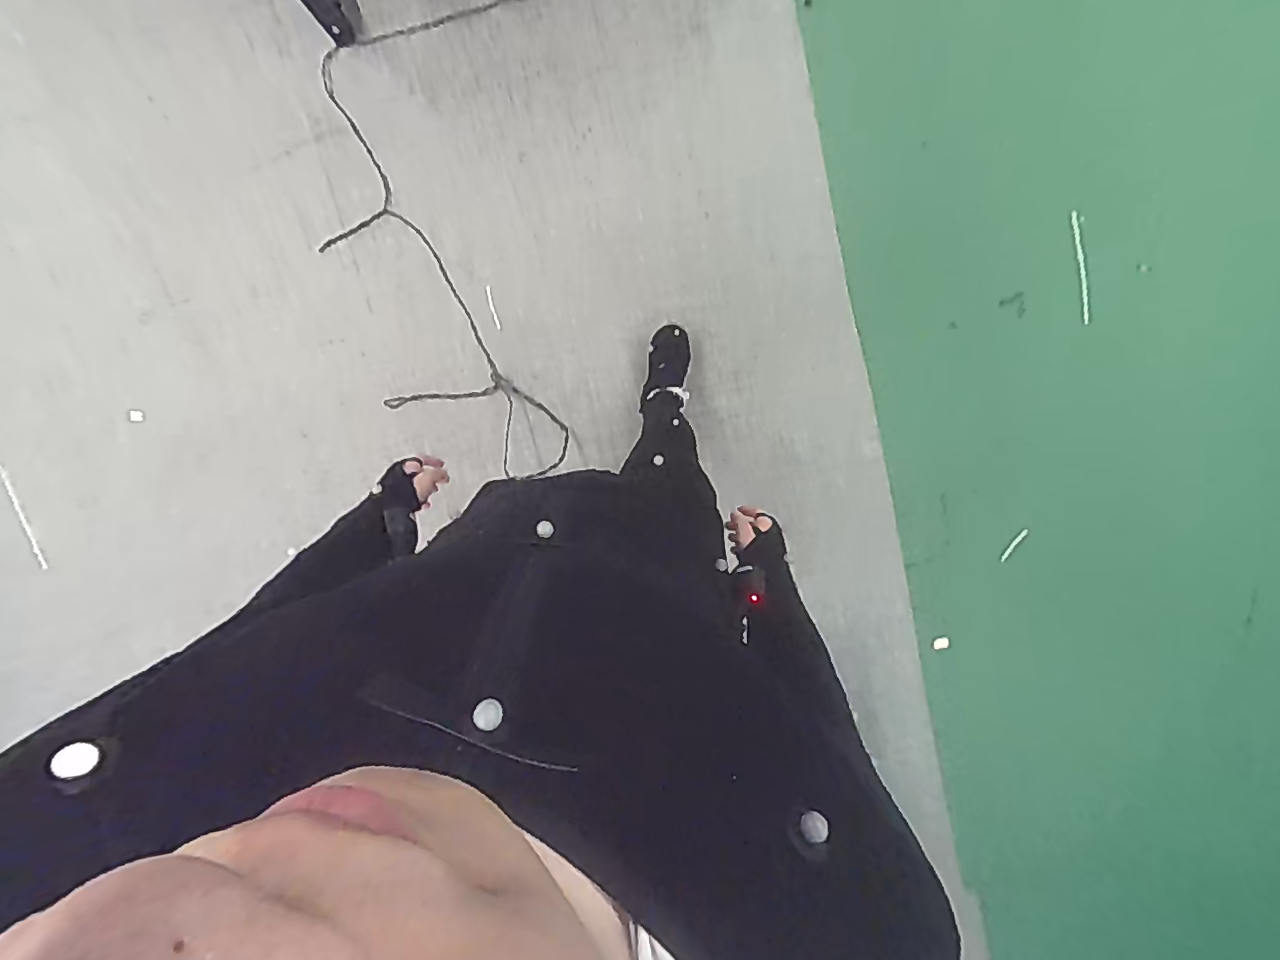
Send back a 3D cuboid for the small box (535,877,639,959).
[{"bbox_3d":[-0.097,0.924,1.063,0.168,0.176,0.179,-13,98,1],"label":"small box"}]
